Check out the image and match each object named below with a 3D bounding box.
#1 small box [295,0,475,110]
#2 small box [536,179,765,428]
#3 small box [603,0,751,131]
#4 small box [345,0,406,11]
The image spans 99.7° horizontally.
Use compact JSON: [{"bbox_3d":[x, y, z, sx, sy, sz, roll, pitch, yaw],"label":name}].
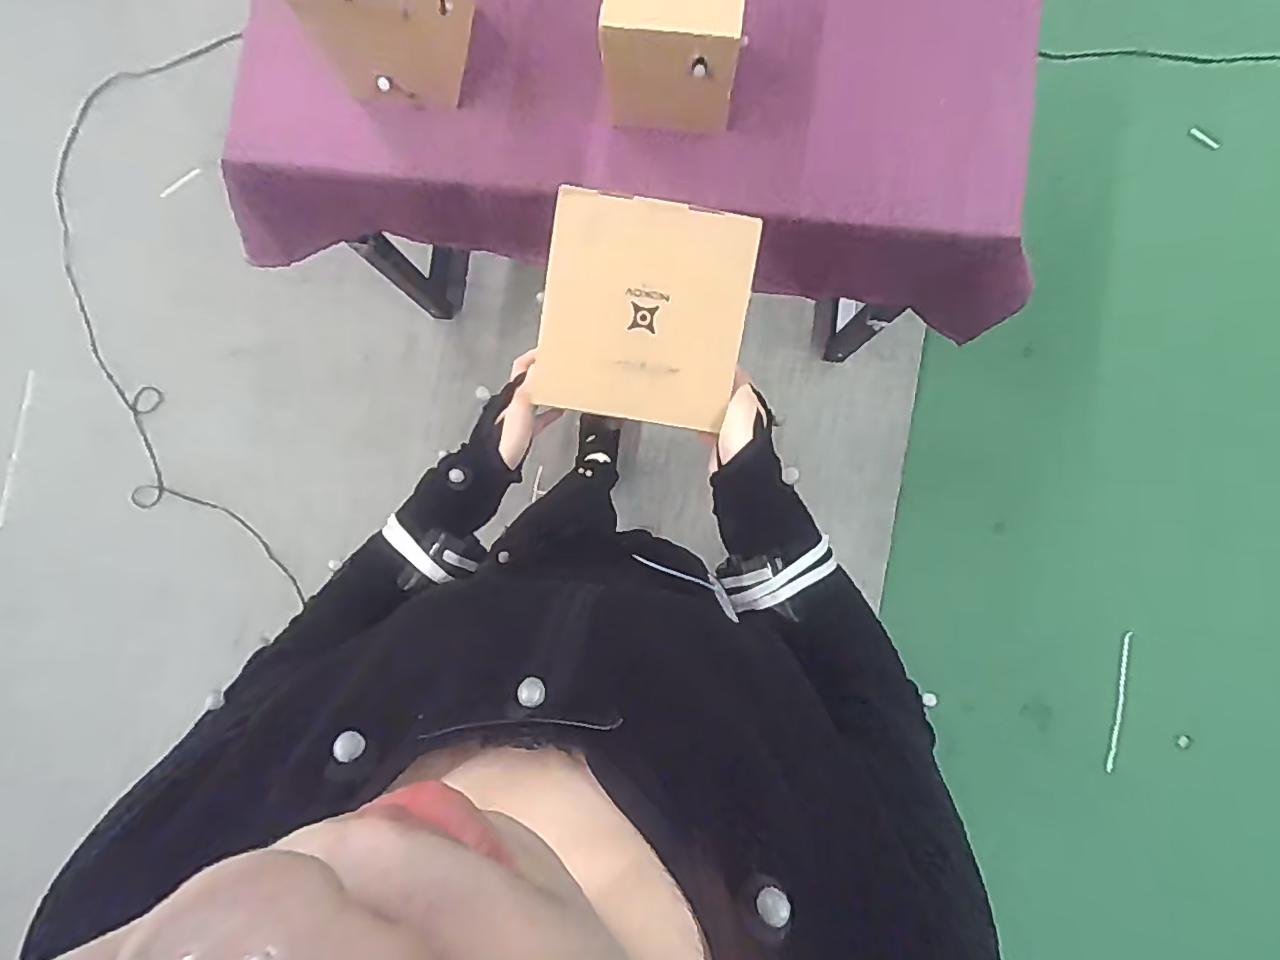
[{"bbox_3d":[-0.343,-0.667,0.752,0.168,0.176,0.179,9,88,2],"label":"small box"},{"bbox_3d":[0.006,-0.153,0.523,0.168,0.176,0.179,10,99,-1],"label":"small box"},{"bbox_3d":[0.052,-0.612,0.737,0.179,0.176,0.168,7,87,2],"label":"small box"},{"bbox_3d":[-0.353,-0.669,0.588,0.168,0.176,0.179,9,88,1],"label":"small box"}]
